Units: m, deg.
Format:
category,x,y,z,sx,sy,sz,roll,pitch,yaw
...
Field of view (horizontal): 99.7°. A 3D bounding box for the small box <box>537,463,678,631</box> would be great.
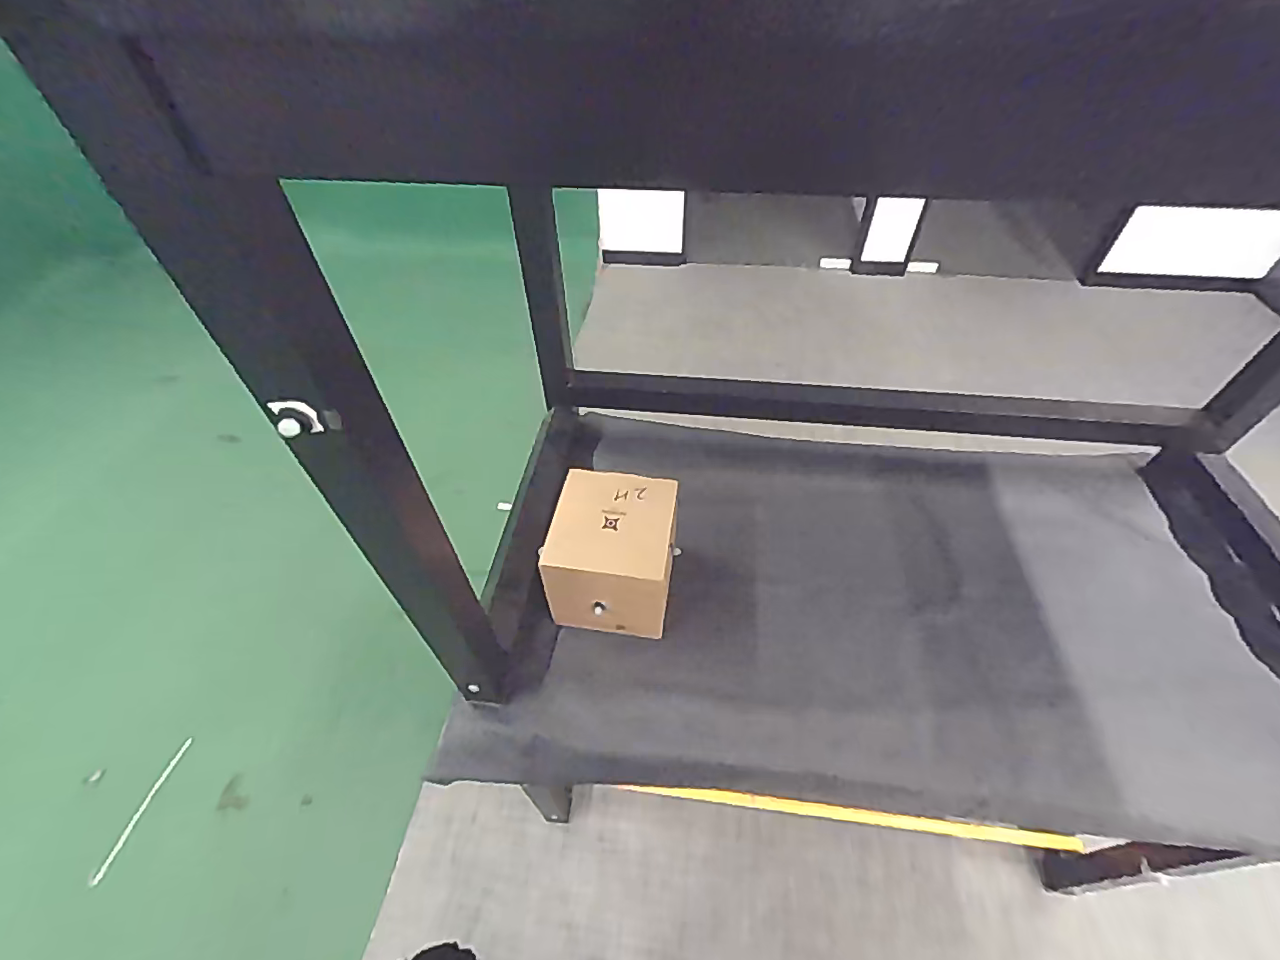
category,x,y,z,sx,sy,sz,roll,pitch,yaw
small box,-0.038,0.101,0.797,0.168,0.176,0.179,7,49,7
